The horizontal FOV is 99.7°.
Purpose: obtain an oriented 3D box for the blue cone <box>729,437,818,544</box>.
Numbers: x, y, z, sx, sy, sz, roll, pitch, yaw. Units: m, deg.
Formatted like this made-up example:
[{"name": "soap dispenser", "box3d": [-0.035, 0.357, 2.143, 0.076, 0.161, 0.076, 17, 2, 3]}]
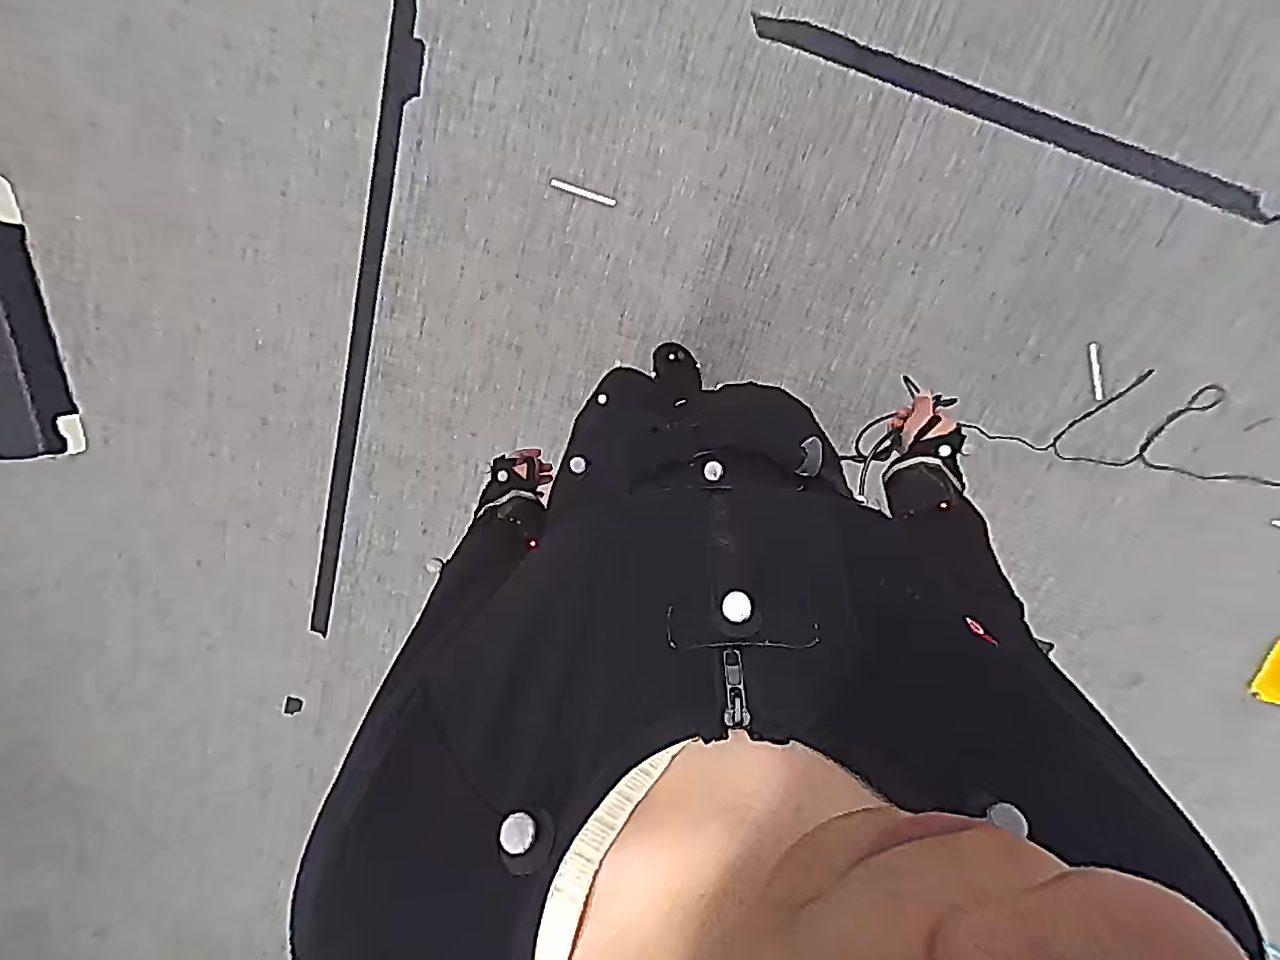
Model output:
[{"name": "blue cone", "box3d": [0.328, 0.043, 1.205, 0.193, 0.380, 0.192, 18, 107, -3]}]
